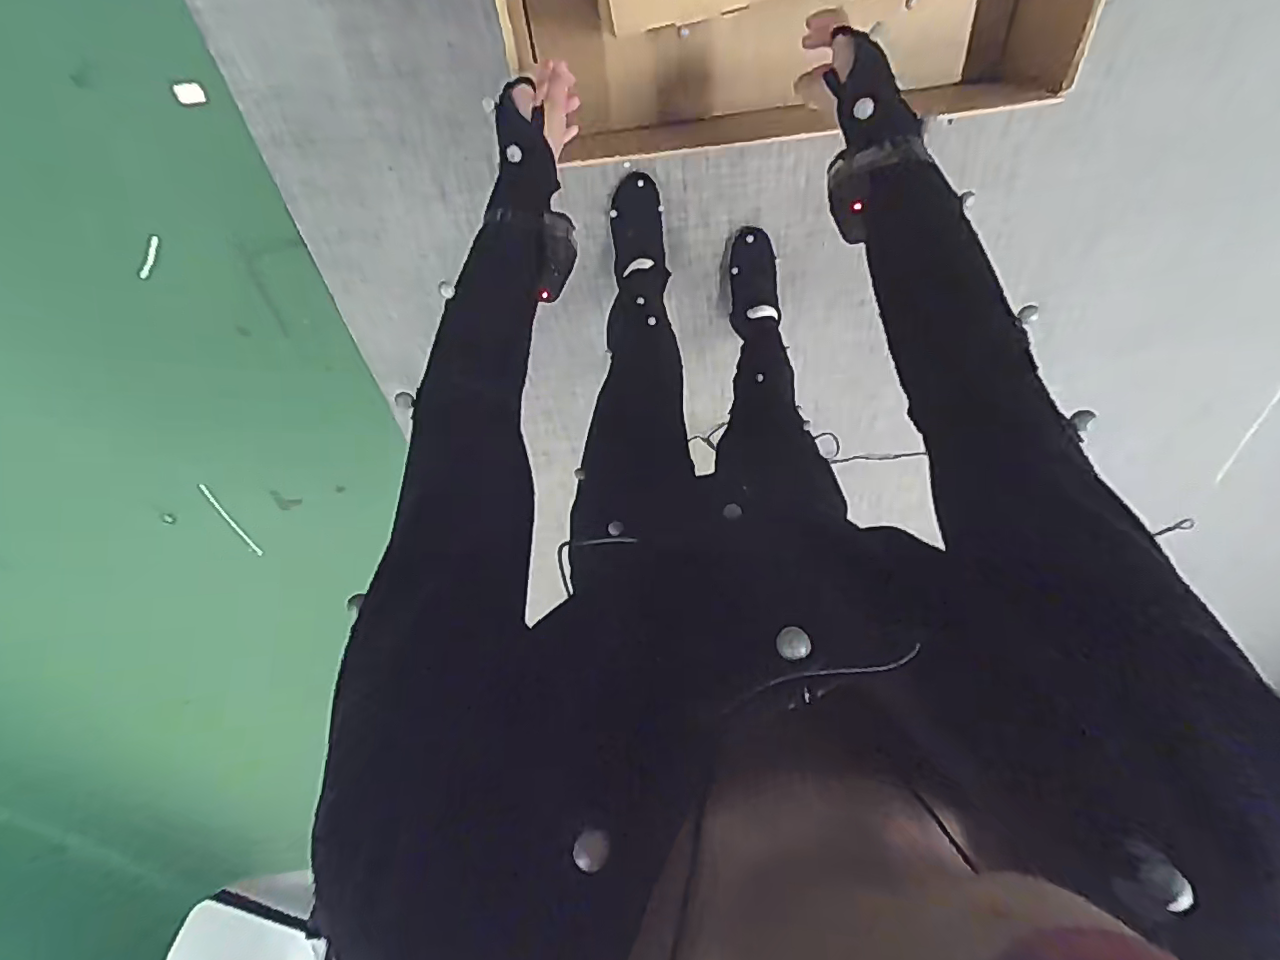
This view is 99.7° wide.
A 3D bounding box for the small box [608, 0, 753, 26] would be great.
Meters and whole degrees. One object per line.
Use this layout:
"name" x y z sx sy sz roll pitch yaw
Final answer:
"small box" 0.038 -0.564 0.521 0.168 0.176 0.179 -9 131 4
